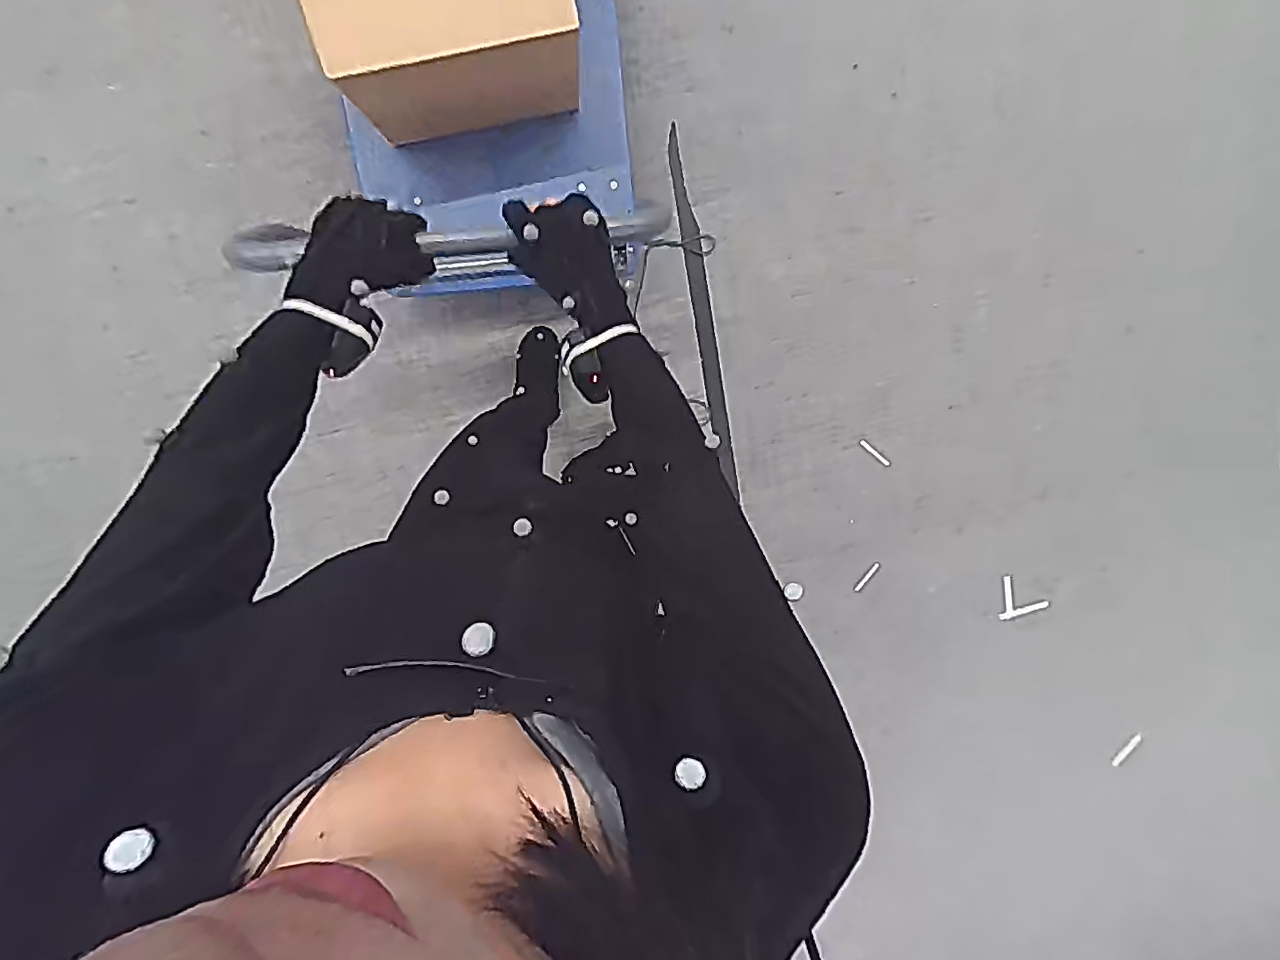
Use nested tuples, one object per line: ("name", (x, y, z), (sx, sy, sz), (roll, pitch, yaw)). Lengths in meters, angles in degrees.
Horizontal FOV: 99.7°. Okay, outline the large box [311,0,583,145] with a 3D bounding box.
("large box", (-0.333, -0.848, 0.950), (0.408, 0.320, 0.320), (-14, 106, -4))
